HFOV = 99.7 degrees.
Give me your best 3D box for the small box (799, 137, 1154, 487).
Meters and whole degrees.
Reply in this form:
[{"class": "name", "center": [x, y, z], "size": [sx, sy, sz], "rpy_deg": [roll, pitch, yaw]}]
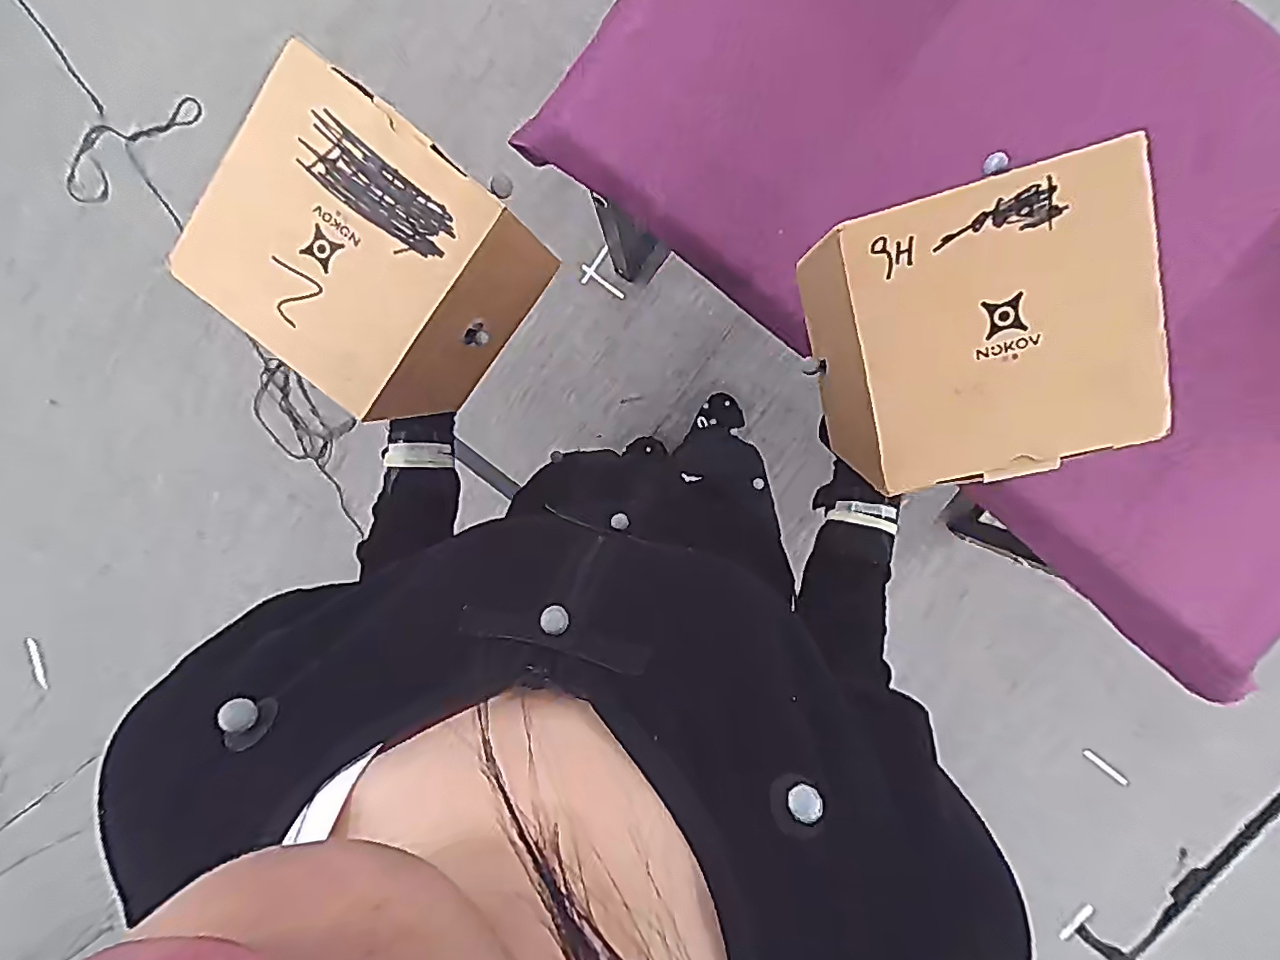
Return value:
[{"class": "small box", "center": [0.229, -0.113, 0.408], "size": [0.168, 0.176, 0.179], "rpy_deg": [-14, 102, 10]}]
